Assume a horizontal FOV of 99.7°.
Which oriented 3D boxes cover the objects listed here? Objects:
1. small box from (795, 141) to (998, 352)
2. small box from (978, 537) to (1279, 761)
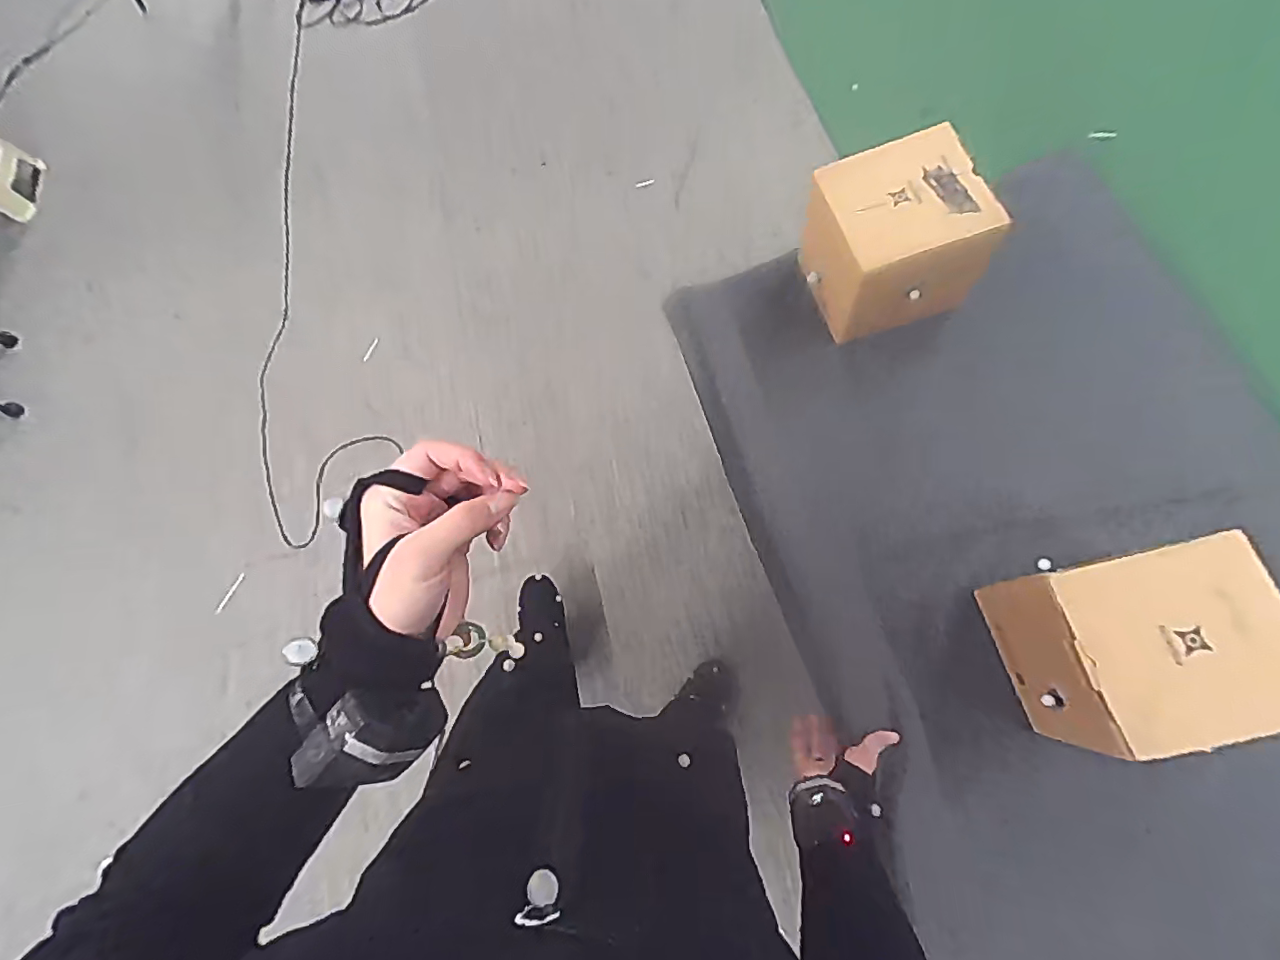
[{"bbox_3d":[0.327,-0.304,0.734,0.179,0.176,0.168,-18,72,4],"label":"small box"},{"bbox_3d":[0.492,0.173,0.567,0.179,0.176,0.168,-16,73,4],"label":"small box"}]
